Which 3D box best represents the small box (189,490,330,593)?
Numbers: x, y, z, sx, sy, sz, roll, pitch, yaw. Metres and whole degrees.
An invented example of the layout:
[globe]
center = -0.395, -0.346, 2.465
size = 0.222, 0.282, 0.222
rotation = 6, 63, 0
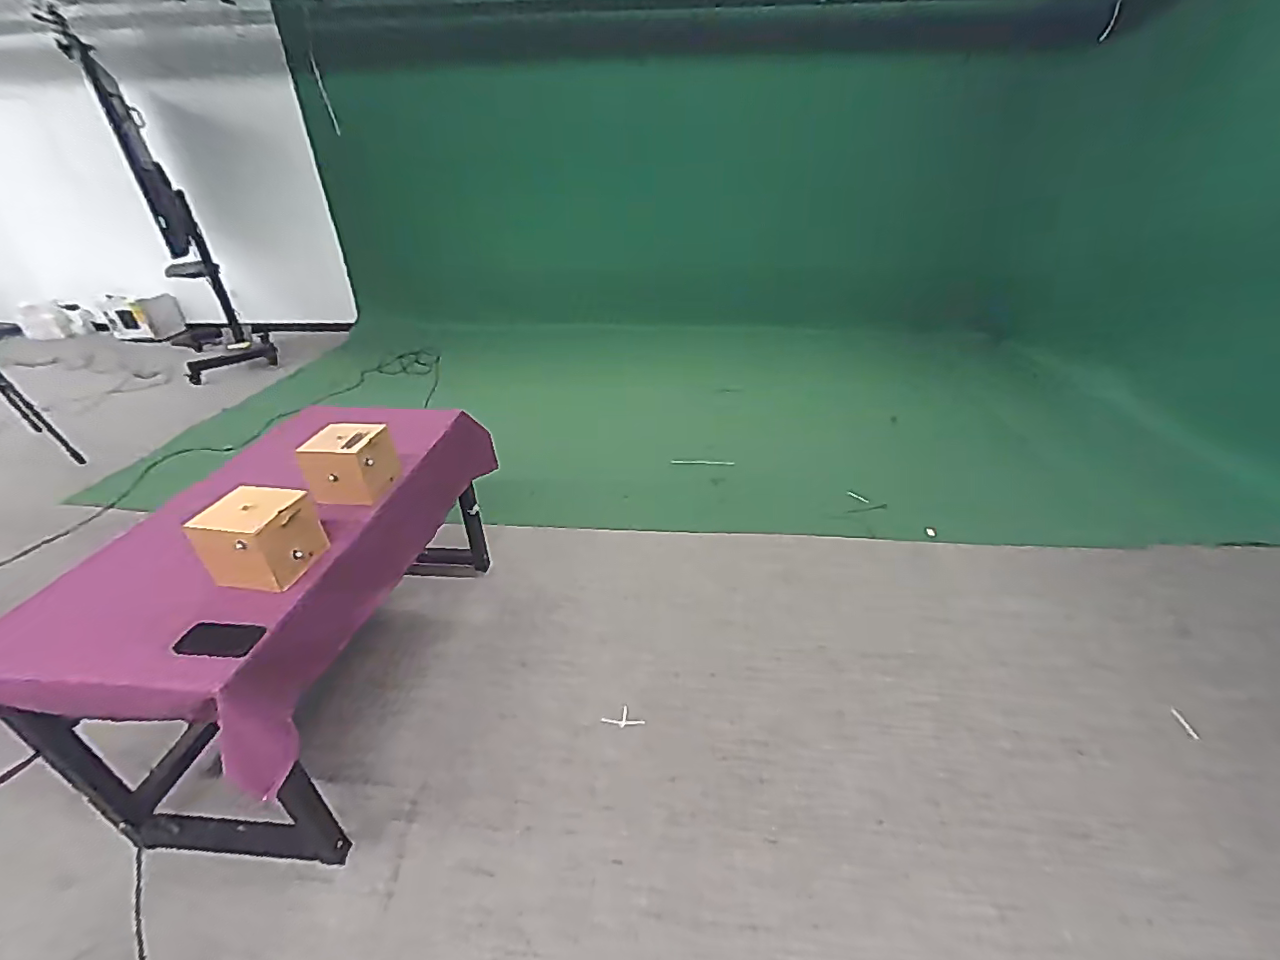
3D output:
[small box]
center = -0.858, 0.141, 1.238
size = 0.179, 0.176, 0.168
rotation = 4, 32, 8
